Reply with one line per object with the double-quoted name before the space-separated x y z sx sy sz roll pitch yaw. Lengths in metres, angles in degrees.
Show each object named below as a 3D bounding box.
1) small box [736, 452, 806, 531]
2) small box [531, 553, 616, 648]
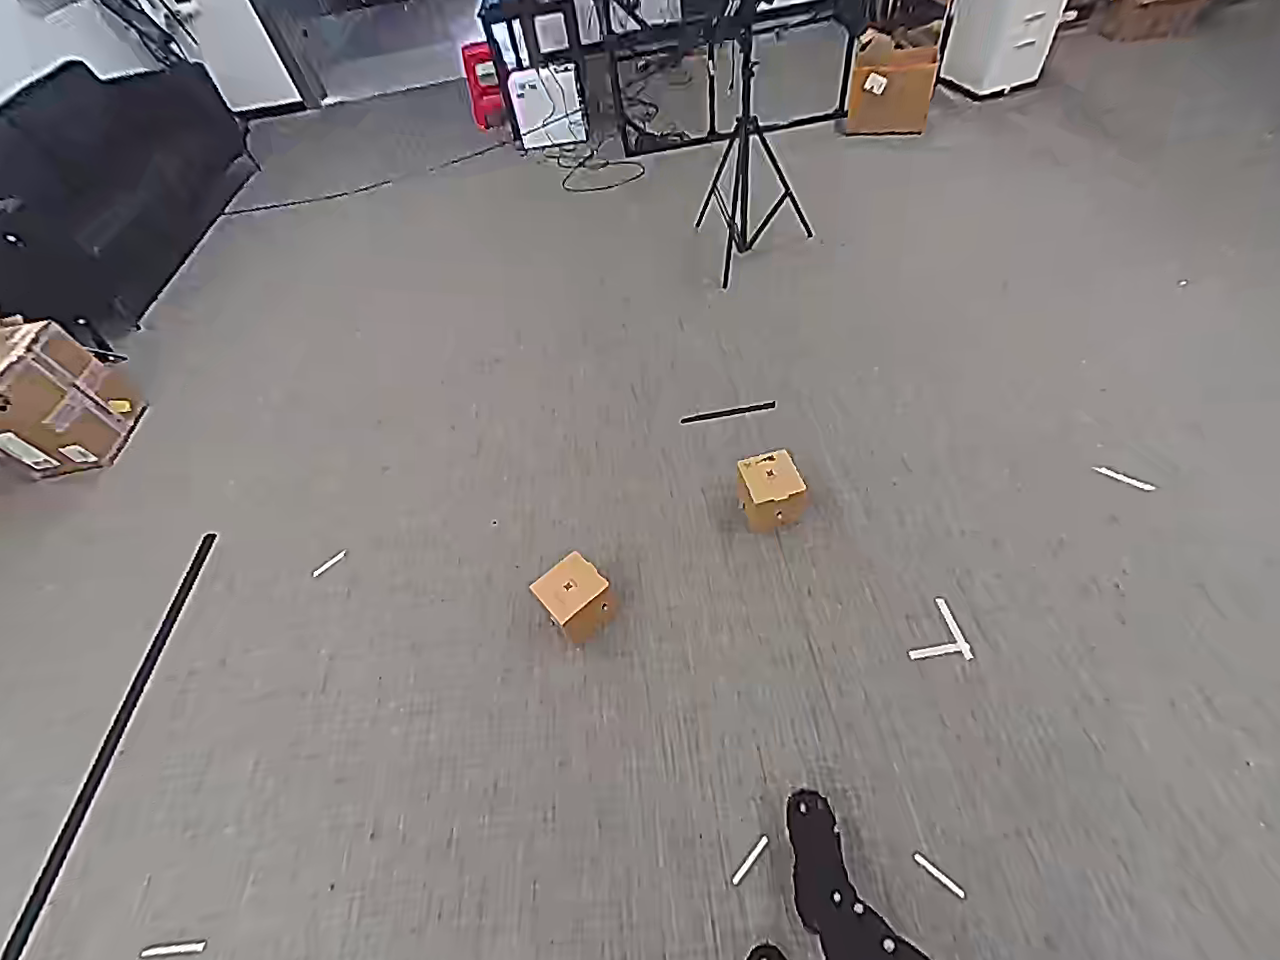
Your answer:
"small box" 0.412 0.044 1.720 0.168 0.176 0.179 -14 52 -2
"small box" -0.185 0.353 1.582 0.179 0.176 0.168 -39 55 -19
